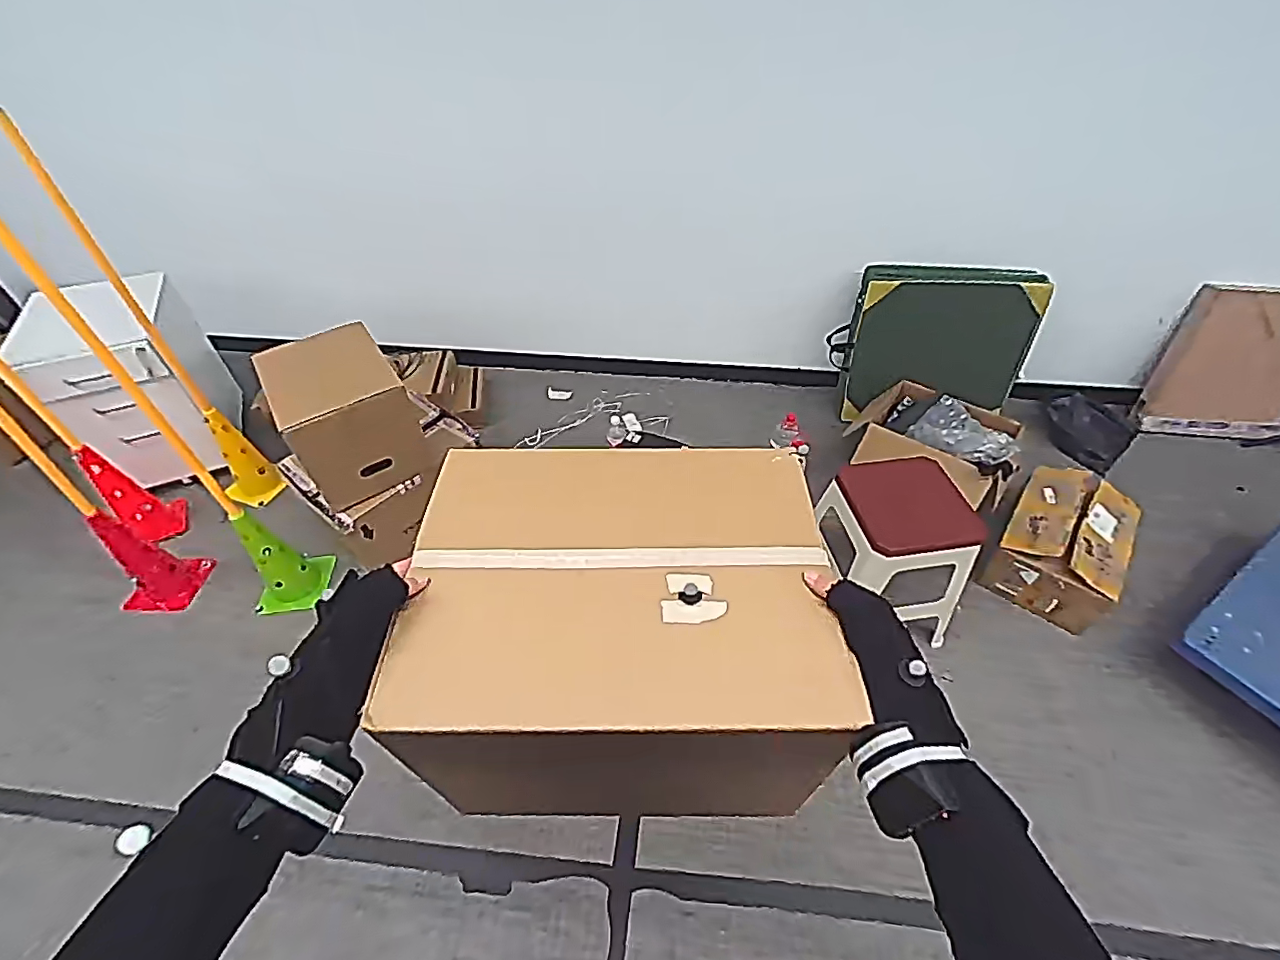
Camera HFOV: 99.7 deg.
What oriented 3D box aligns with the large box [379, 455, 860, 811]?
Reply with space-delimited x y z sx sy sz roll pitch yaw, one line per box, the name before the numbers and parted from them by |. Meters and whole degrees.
large box | -0.019 0.184 0.648 0.408 0.320 0.320 0 48 0
